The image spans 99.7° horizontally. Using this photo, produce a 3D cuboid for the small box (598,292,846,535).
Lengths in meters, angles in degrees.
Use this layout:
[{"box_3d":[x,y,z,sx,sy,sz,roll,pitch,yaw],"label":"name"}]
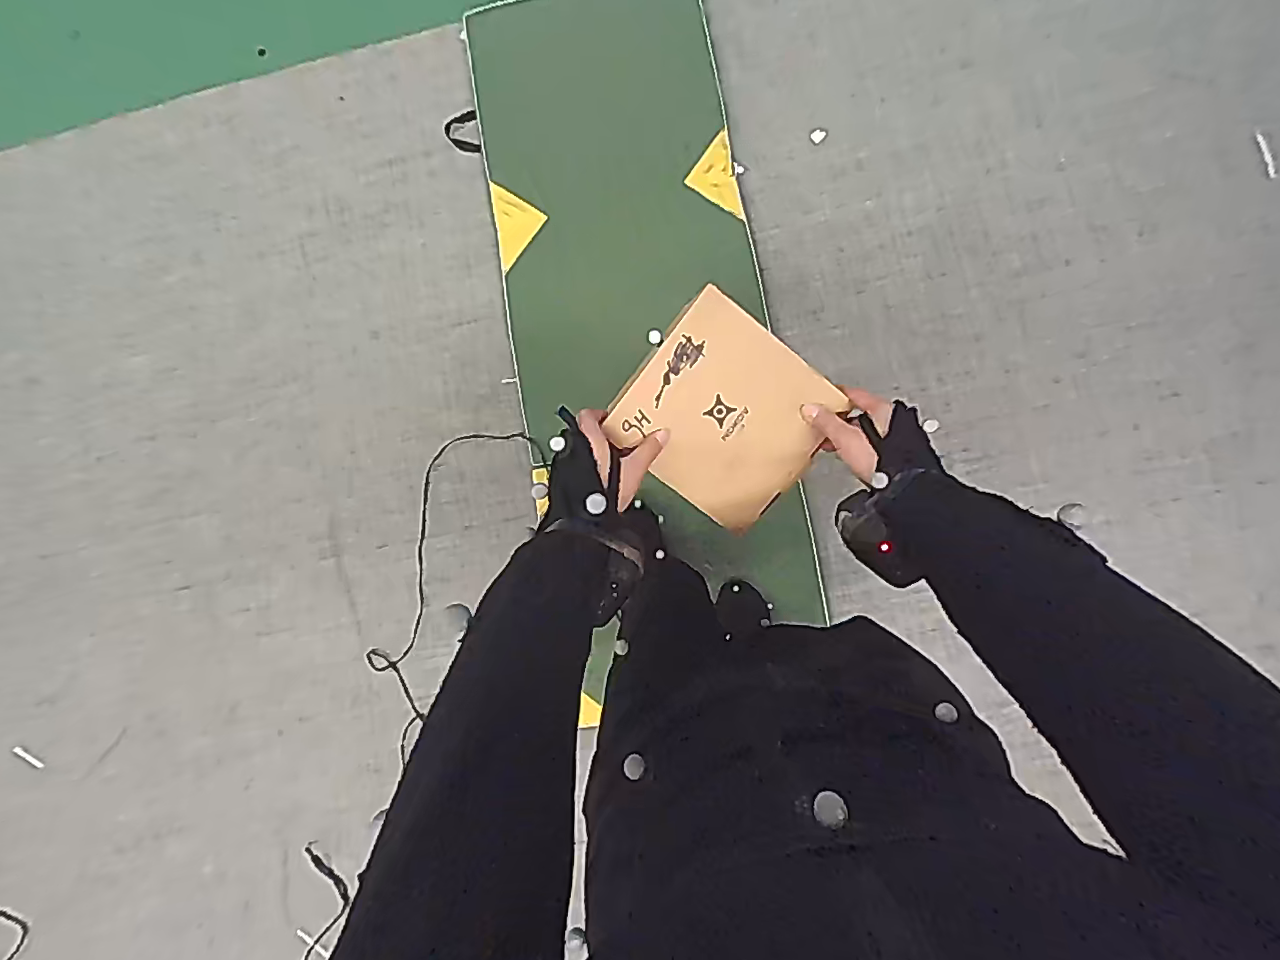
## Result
[{"box_3d":[0.076,-0.074,0.581,0.179,0.176,0.168,37,99,-8],"label":"small box"}]
